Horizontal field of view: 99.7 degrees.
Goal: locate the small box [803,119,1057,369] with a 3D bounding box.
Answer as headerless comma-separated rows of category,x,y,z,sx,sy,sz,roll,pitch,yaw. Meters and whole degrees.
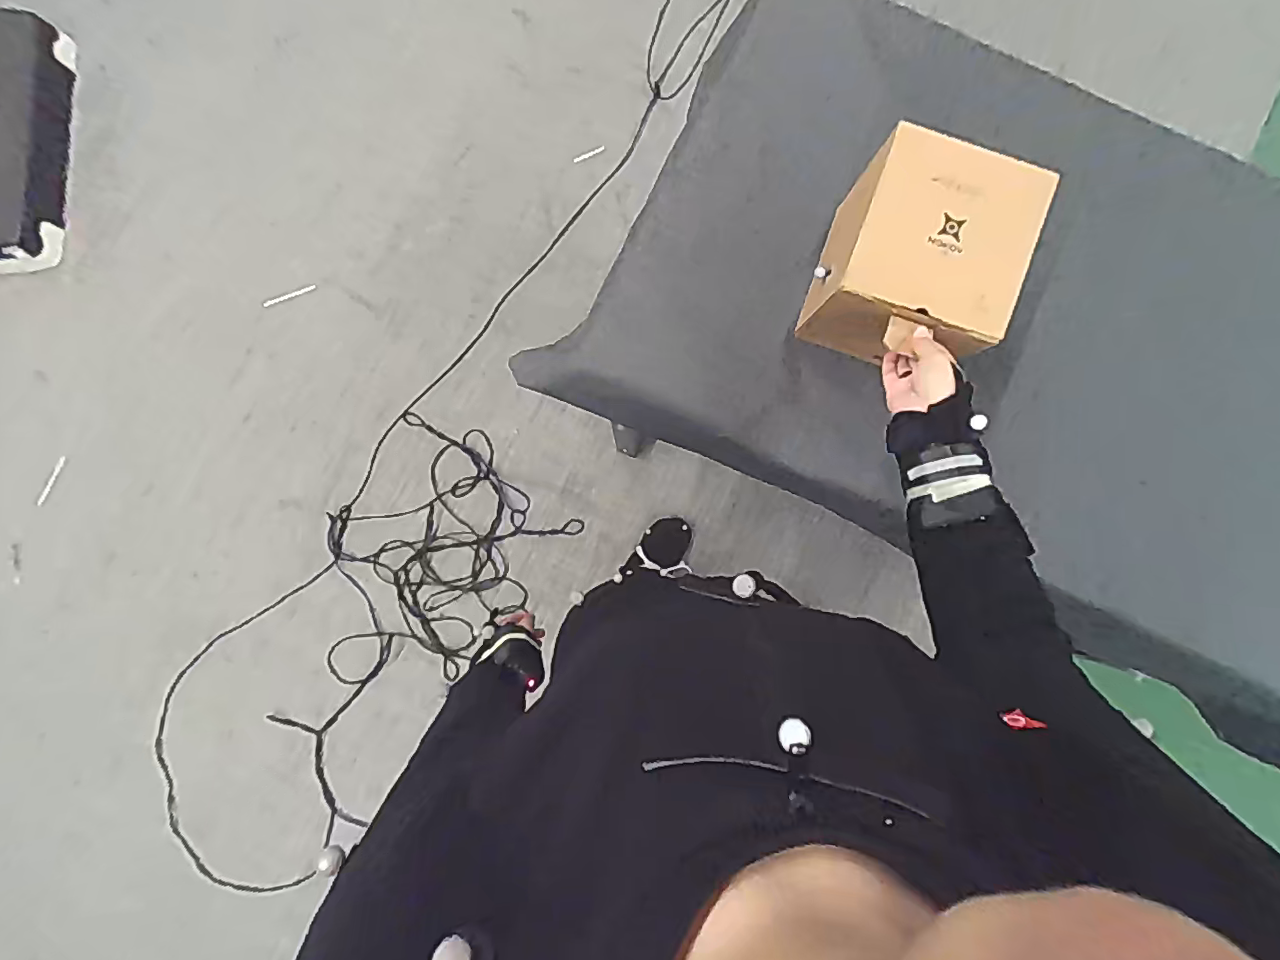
small box,0.298,-0.240,0.599,0.168,0.176,0.179,19,88,0
